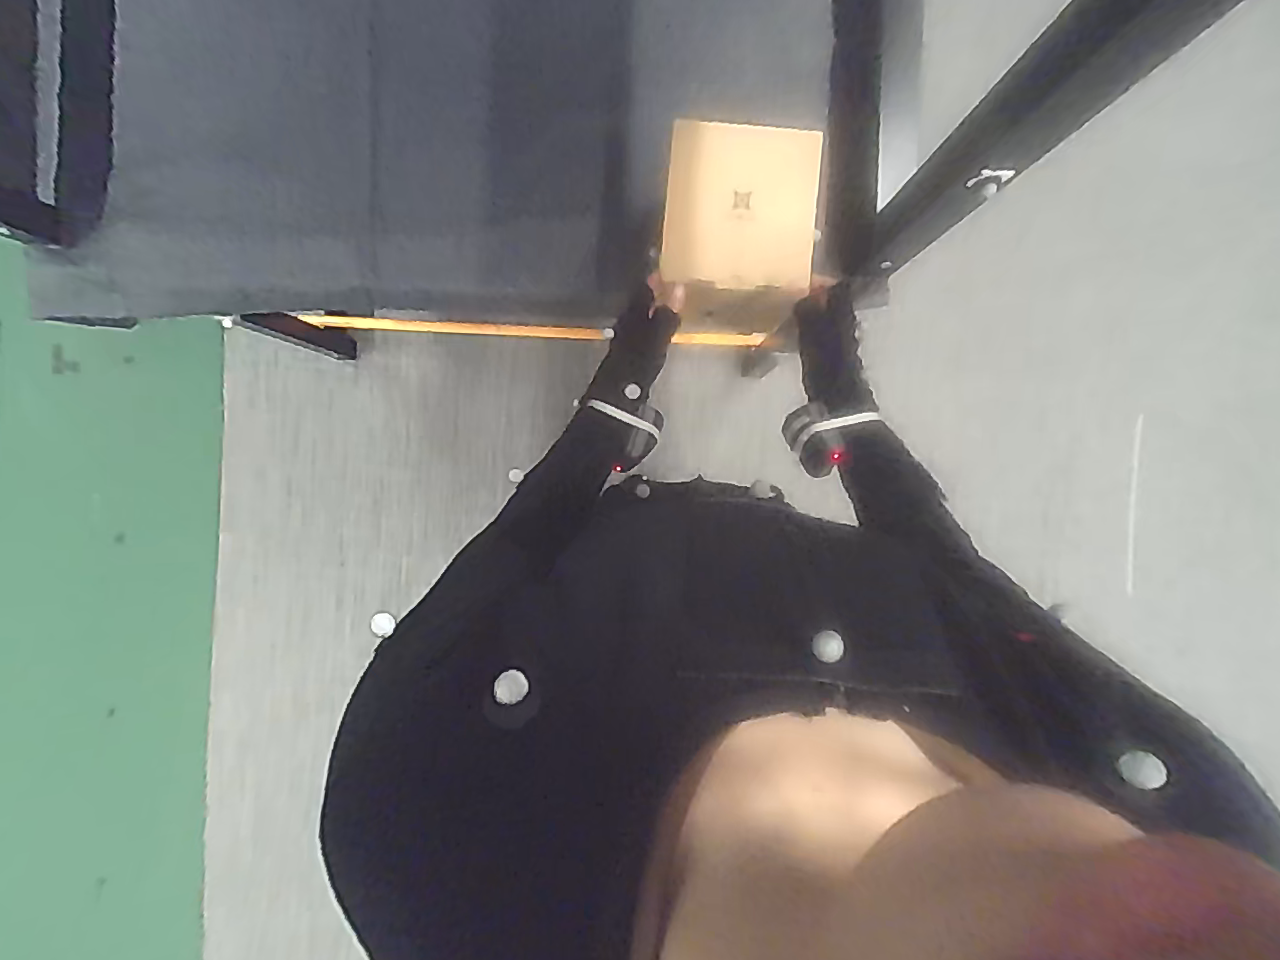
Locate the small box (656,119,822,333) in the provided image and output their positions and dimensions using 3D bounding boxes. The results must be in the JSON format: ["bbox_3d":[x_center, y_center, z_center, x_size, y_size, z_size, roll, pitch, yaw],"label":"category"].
[{"bbox_3d":[0.109,-0.295,0.660,0.168,0.176,0.179,5,90,1],"label":"small box"}]
